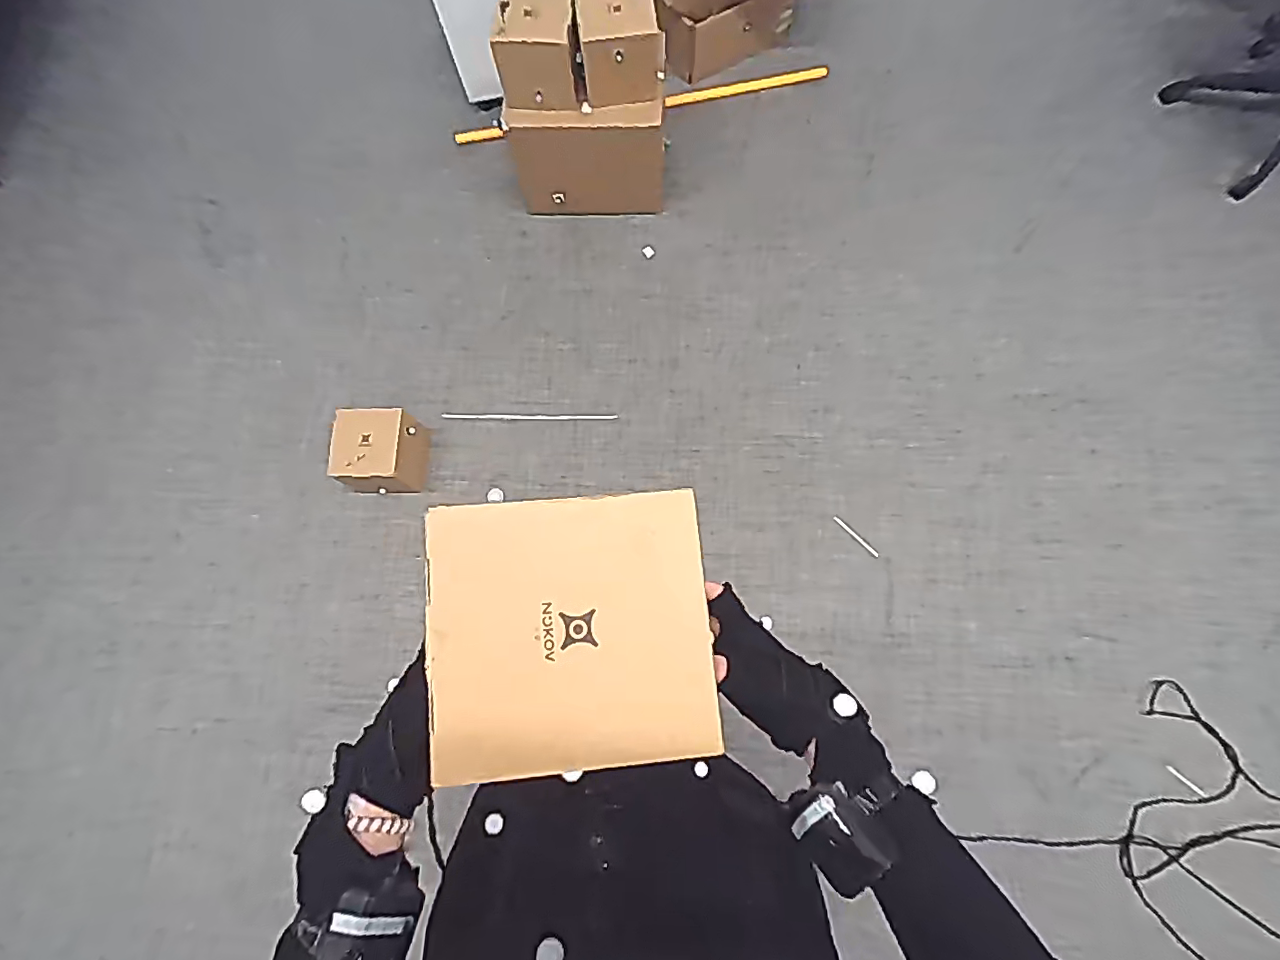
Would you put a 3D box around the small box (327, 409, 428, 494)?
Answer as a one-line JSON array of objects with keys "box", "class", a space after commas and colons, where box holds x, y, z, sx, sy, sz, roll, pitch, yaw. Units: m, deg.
[{"box": [-0.657, -0.069, 1.375, 0.168, 0.176, 0.179, 0, 75, 2], "class": "small box"}]

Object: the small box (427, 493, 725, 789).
[{"box": [-0.045, 0.107, 0.409, 0.179, 0.176, 0.168, -5, 79, -3], "class": "small box"}]
